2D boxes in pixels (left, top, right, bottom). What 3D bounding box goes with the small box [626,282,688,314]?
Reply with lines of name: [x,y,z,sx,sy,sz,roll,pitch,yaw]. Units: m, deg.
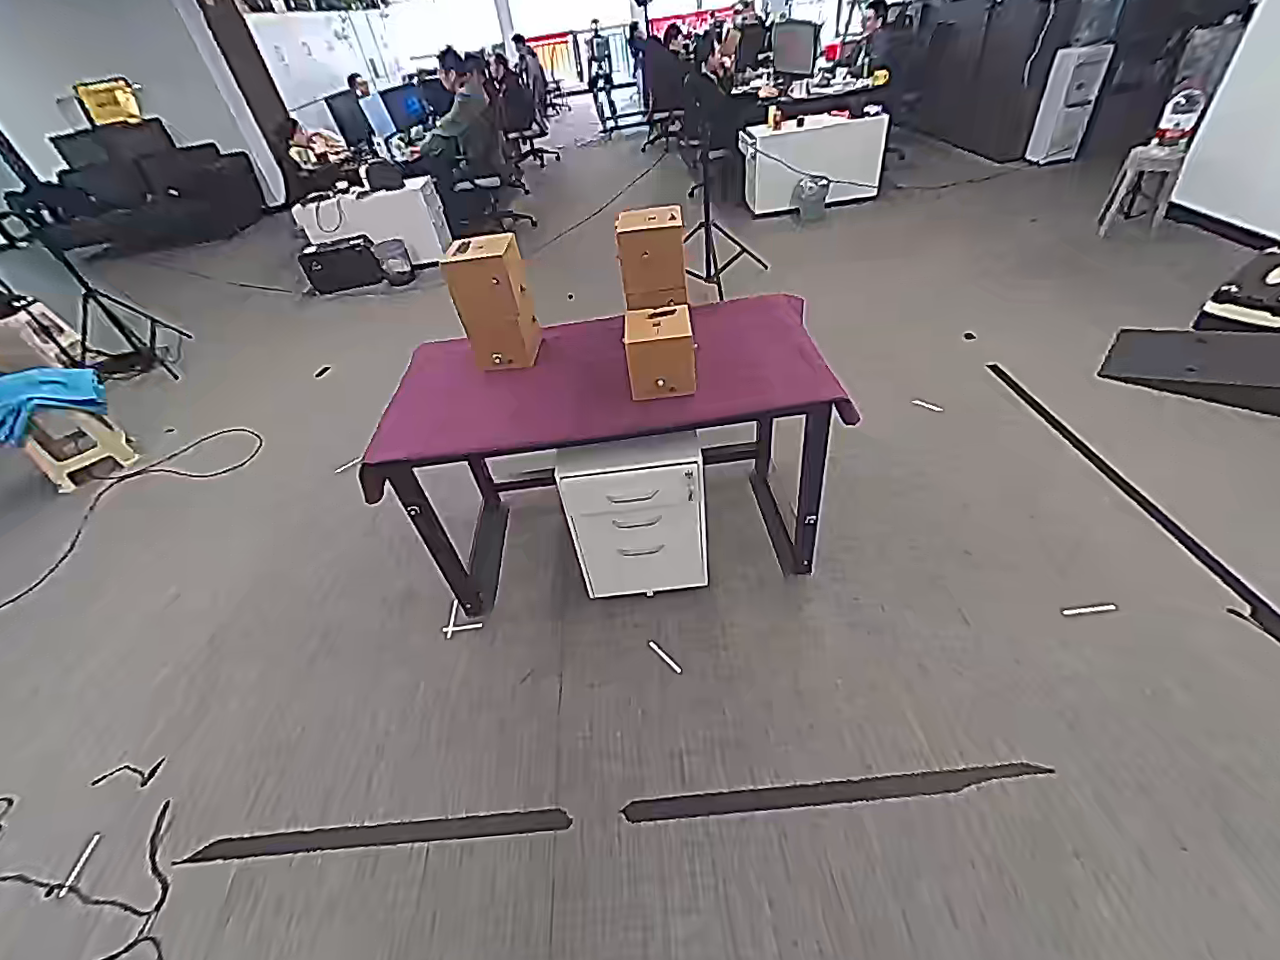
small box: [0.056,-0.516,1.621,0.179,0.176,0.168,-6,42,5]

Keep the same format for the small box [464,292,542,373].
small box: [-0.403,-0.442,1.625,0.168,0.176,0.179,-5,44,7]

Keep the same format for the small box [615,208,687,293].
small box: [0.034,-0.637,1.512,0.179,0.176,0.168,-5,43,6]

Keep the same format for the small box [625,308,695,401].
small box: [0.054,-0.327,1.409,0.168,0.176,0.179,-6,41,5]
